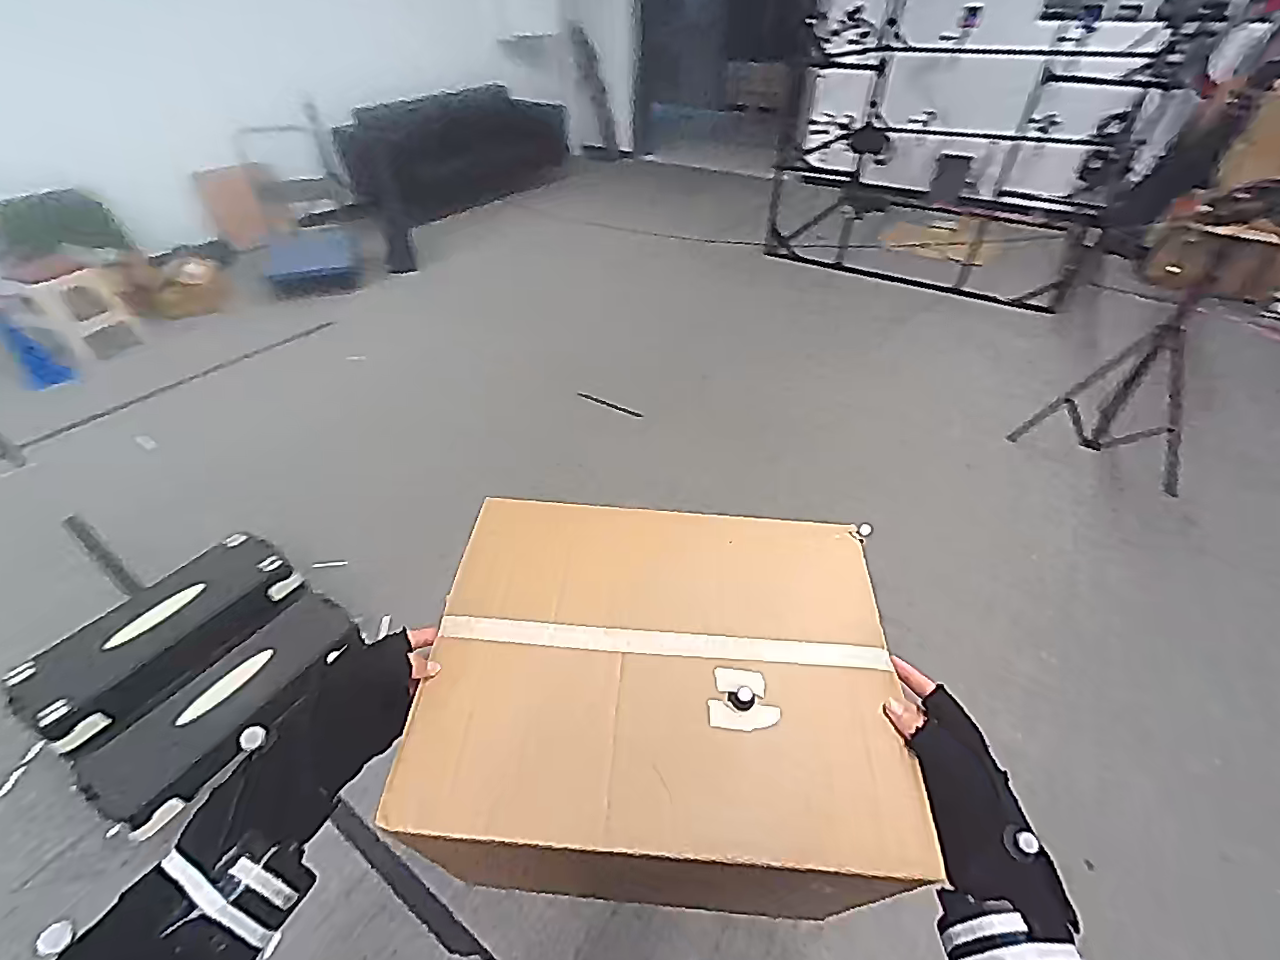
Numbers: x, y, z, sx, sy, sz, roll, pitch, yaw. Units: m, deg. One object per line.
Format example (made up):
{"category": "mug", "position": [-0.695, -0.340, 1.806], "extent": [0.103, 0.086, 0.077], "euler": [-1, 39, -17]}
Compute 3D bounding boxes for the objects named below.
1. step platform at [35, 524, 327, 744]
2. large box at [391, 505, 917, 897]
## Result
{"category": "step platform", "position": [-1.360, 0.430, 1.659], "extent": [0.286, 0.204, 0.684], "euler": [22, 45, 23]}
{"category": "large box", "position": [0.009, 0.251, 0.609], "extent": [0.408, 0.320, 0.320], "euler": [4, 48, 0]}
